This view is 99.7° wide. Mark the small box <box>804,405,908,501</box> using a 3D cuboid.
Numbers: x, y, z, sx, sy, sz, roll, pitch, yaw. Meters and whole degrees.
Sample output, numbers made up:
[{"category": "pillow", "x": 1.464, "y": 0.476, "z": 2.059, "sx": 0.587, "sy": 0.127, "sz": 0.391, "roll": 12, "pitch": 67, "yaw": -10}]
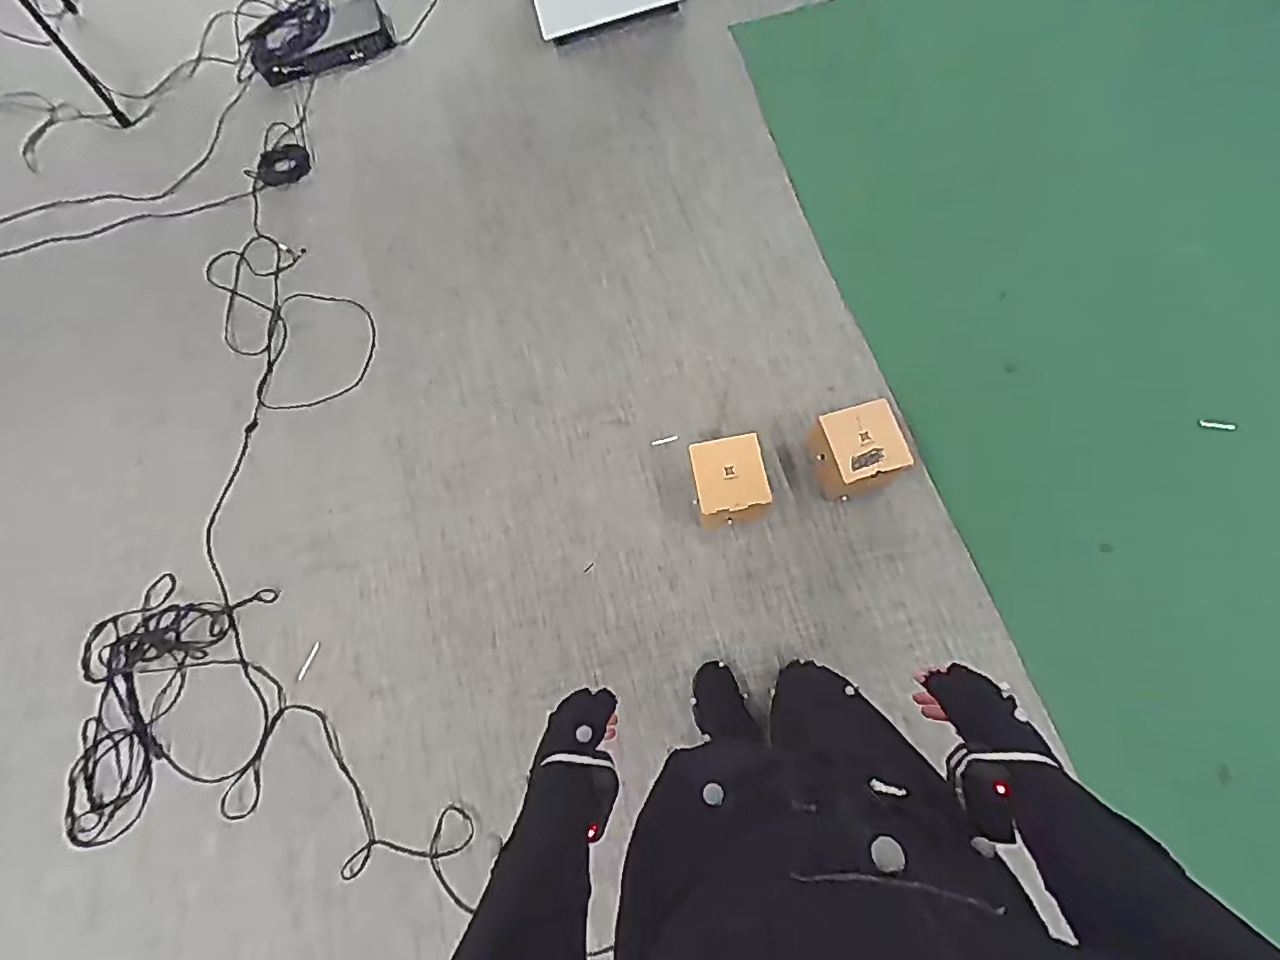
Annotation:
[{"category": "small box", "x": 0.521, "y": -0.056, "z": 1.332, "sx": 0.168, "sy": 0.176, "sz": 0.179, "roll": -16, "pitch": 72, "yaw": 1}]

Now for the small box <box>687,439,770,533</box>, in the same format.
[{"category": "small box", "x": 0.211, "y": 0.019, "z": 1.340, "sx": 0.168, "sy": 0.176, "sz": 0.179, "roll": -11, "pitch": 73, "yaw": 2}]
